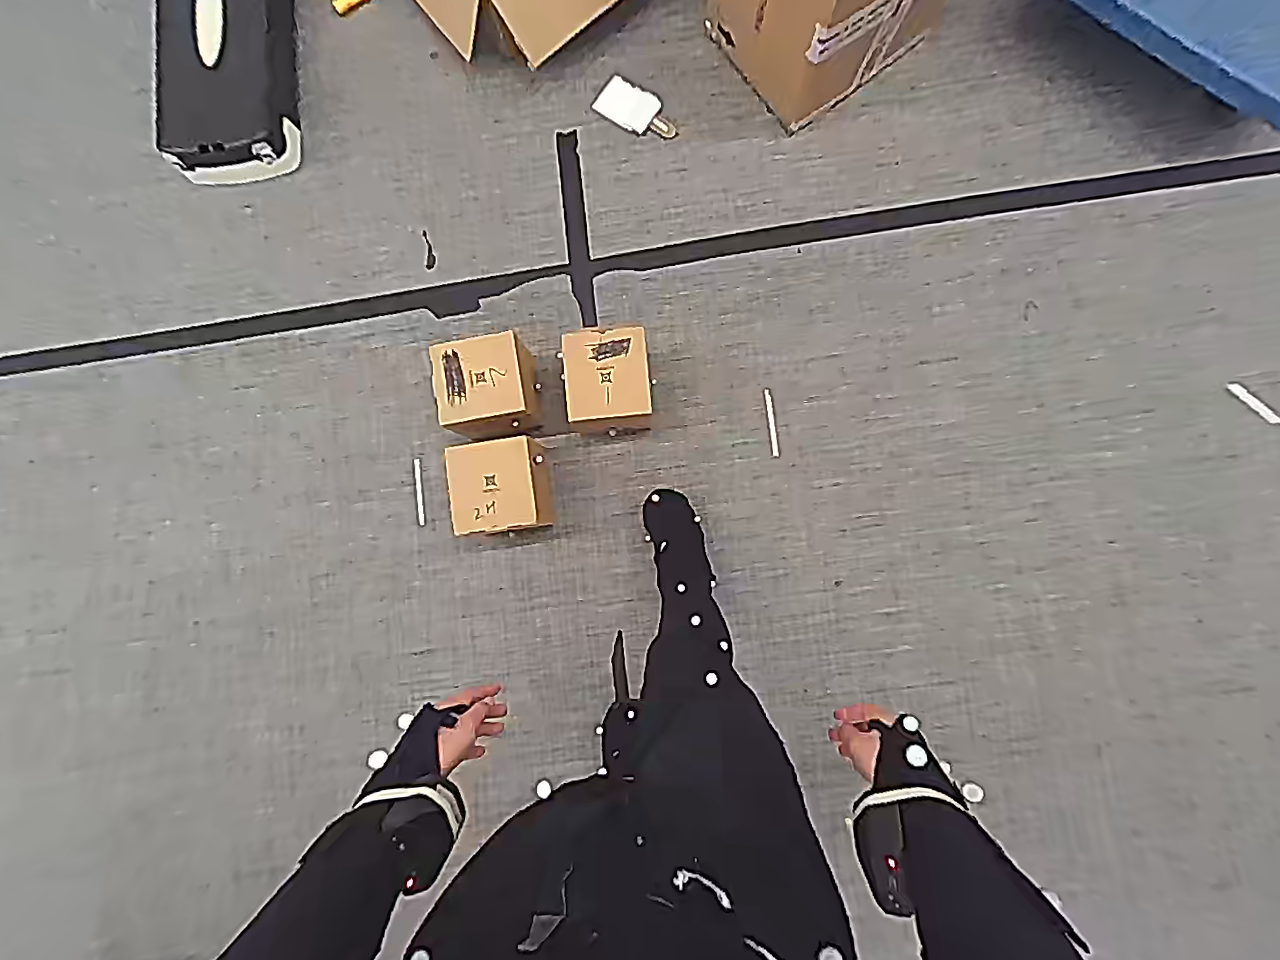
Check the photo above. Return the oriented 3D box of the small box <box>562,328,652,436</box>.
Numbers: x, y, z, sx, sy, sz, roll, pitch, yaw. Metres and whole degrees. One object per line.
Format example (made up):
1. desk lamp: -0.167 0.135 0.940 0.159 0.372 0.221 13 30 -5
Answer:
1. small box: -0.063 -0.197 1.126 0.168 0.176 0.179 -5 86 2

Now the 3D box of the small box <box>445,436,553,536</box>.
1. small box: -0.284 0.019 1.116 0.168 0.176 0.179 -9 85 2
